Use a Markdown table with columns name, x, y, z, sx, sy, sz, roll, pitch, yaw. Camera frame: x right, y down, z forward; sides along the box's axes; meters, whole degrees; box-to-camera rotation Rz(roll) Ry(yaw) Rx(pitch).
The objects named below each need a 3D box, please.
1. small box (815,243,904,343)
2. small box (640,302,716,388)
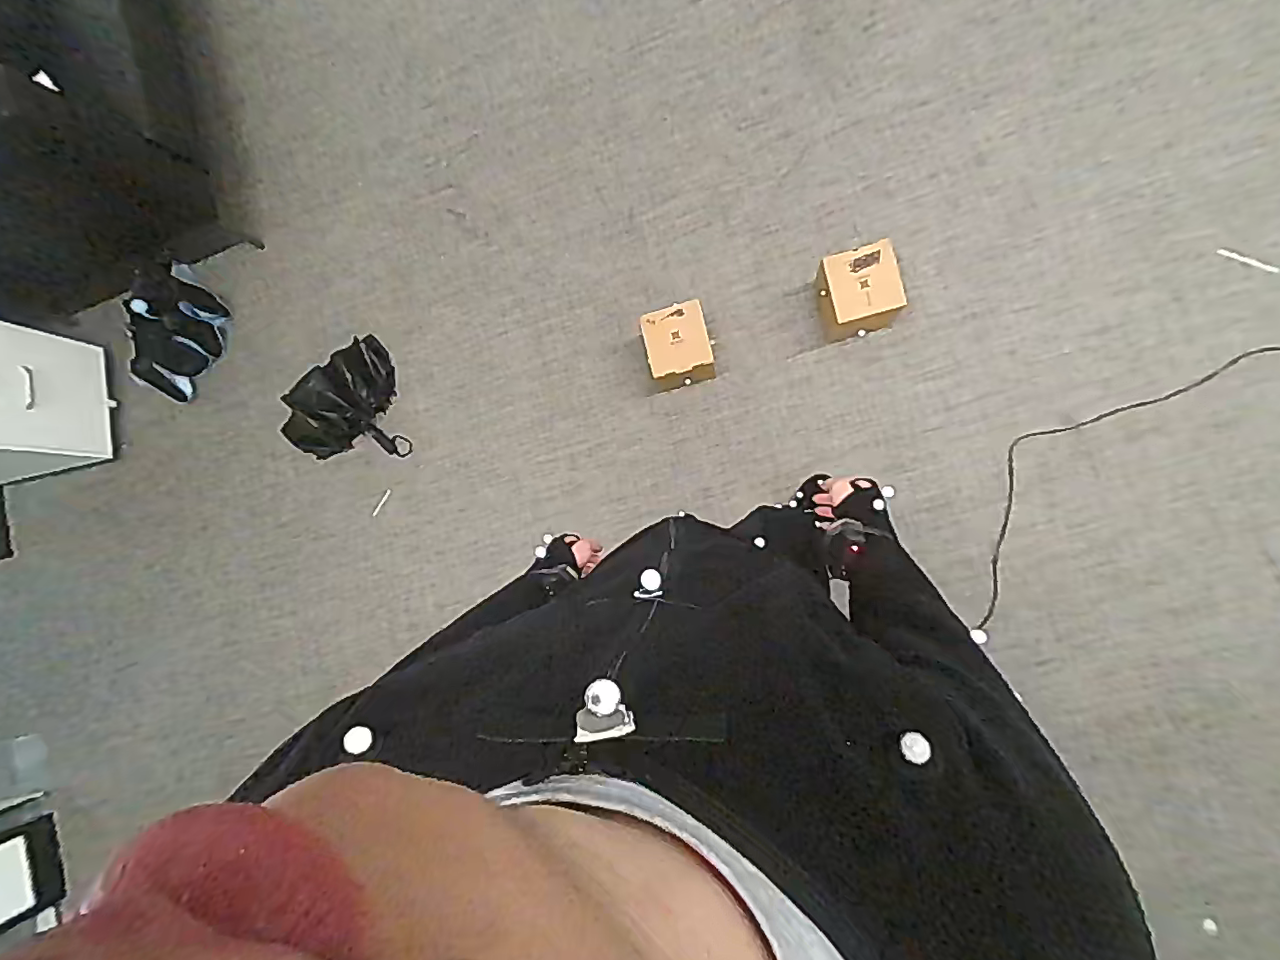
| name | x | y | z | sx | sy | sz | roll | pitch | yaw |
| --- | --- | --- | --- | --- | --- | --- | --- | --- | --- |
| small box | 0.566 | -0.483 | 1.418 | 0.168 | 0.176 | 0.179 | -13 | 86 | 11 |
| small box | 0.112 | -0.366 | 1.505 | 0.168 | 0.176 | 0.179 | -13 | 85 | 11 |
